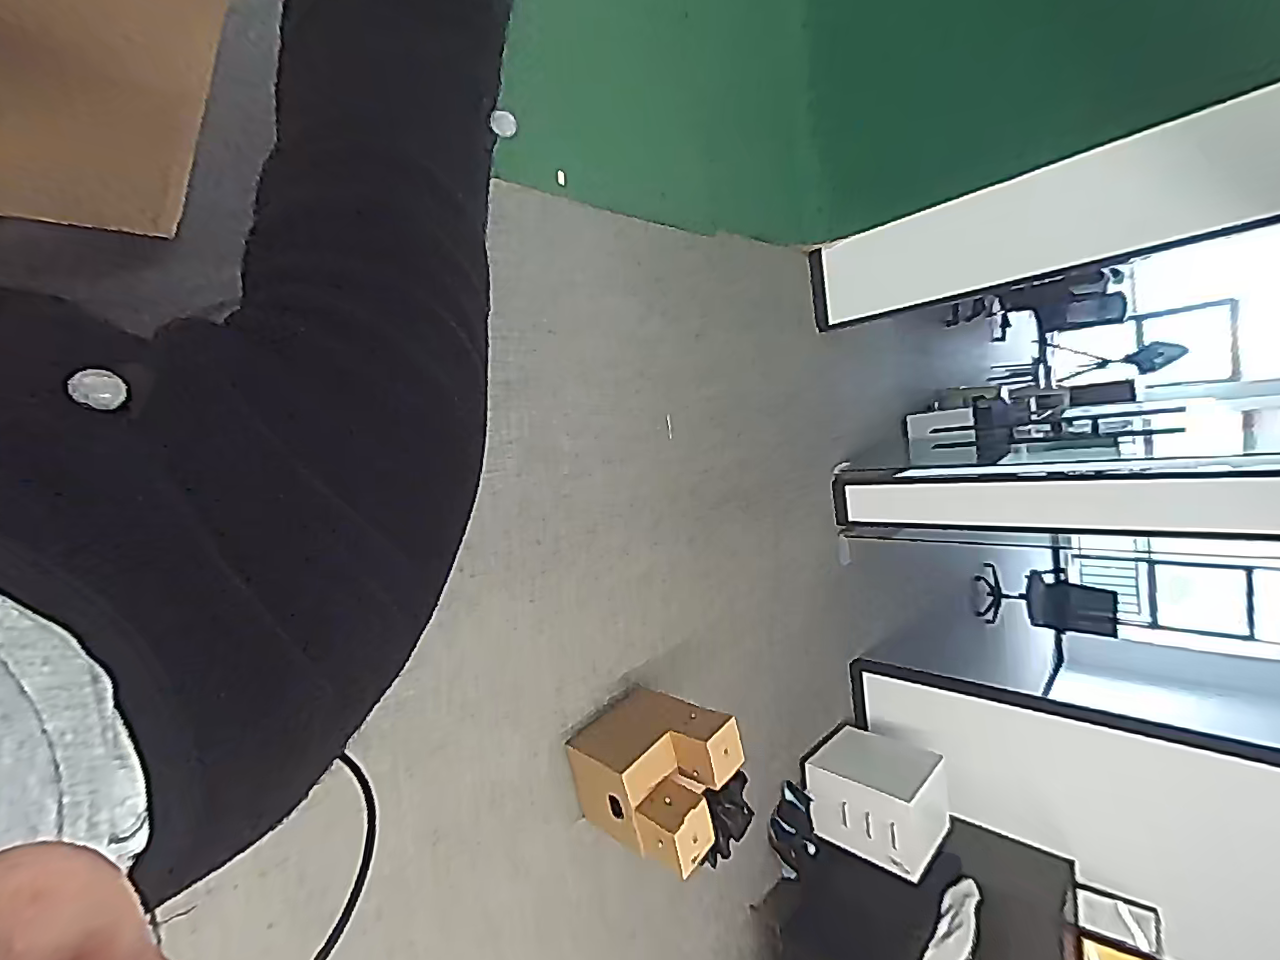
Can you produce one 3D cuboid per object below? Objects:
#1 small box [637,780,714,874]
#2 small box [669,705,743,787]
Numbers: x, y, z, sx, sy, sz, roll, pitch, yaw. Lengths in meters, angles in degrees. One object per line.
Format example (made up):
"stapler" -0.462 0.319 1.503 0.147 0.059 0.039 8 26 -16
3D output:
"small box" 0.111 1.107 1.748 0.168 0.176 0.179 -25 107 -42
"small box" 0.227 0.912 1.873 0.168 0.176 0.179 -21 99 -44
